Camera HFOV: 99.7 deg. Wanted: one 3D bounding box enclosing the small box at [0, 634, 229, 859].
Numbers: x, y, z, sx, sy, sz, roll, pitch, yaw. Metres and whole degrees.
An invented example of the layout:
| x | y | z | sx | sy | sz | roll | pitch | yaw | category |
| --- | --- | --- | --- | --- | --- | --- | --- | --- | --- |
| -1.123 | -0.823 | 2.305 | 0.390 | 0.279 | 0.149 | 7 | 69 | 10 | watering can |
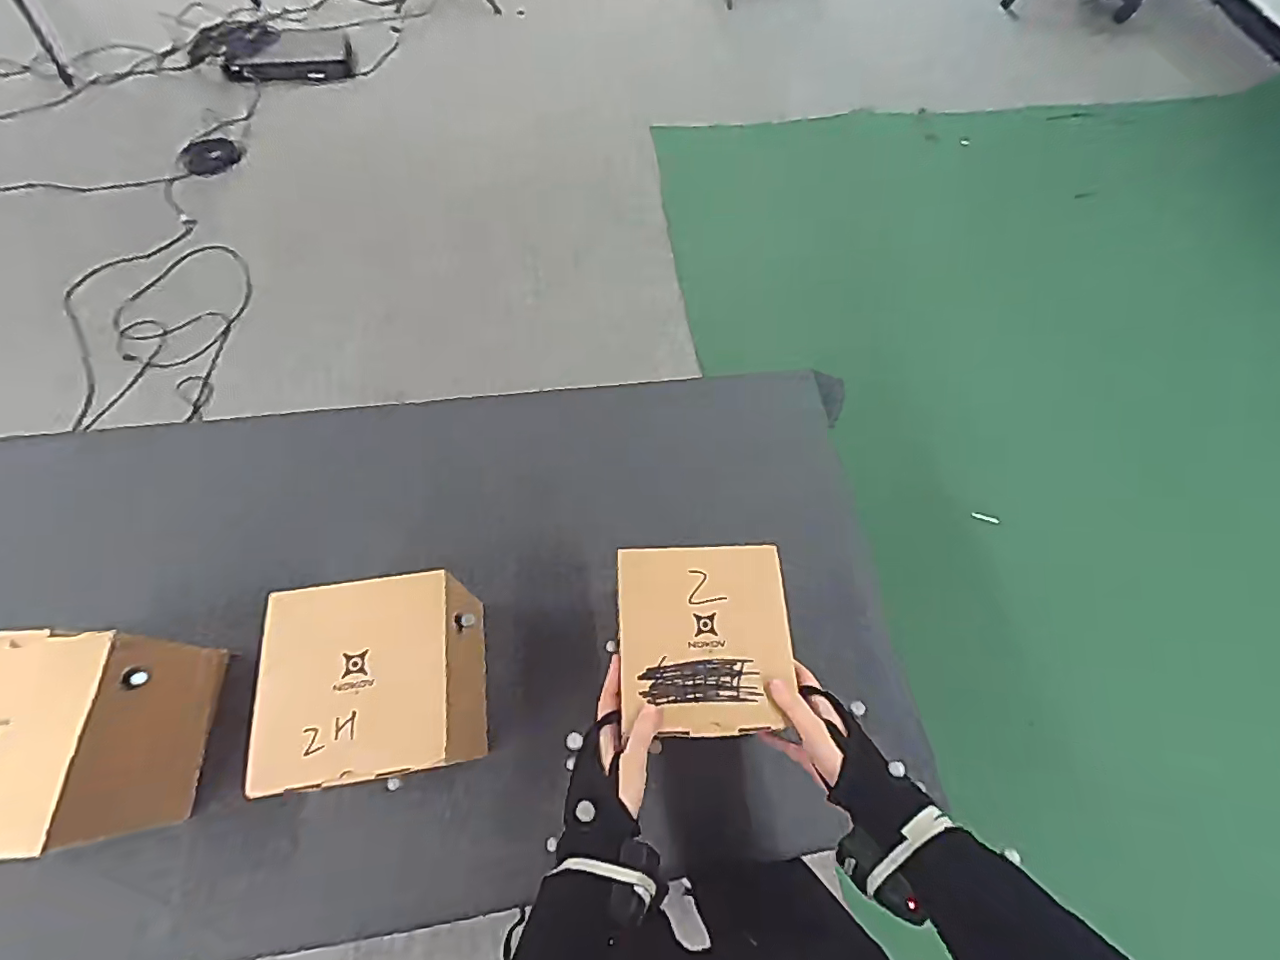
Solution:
| x | y | z | sx | sy | sz | roll | pitch | yaw | category |
| --- | --- | --- | --- | --- | --- | --- | --- | --- | --- |
| -0.556 | 0.256 | 0.535 | 0.168 | 0.176 | 0.179 | -2 | 65 | -3 | small box |

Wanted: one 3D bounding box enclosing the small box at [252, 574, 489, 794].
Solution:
| x | y | z | sx | sy | sz | roll | pitch | yaw | category |
| --- | --- | --- | --- | --- | --- | --- | --- | --- | --- |
| -0.259 | 0.213 | 0.567 | 0.168 | 0.176 | 0.179 | -7 | 66 | -5 | small box |
